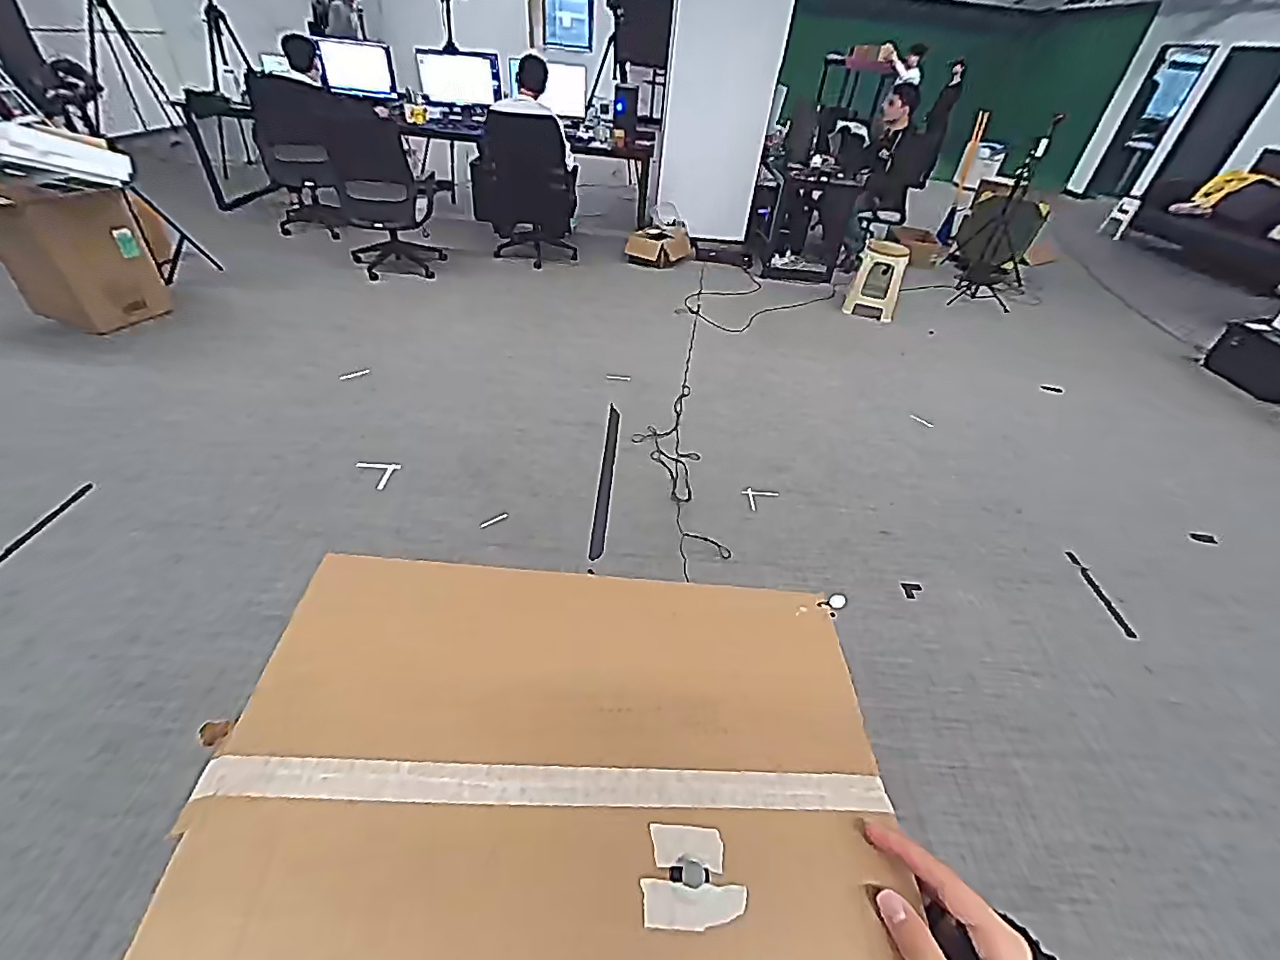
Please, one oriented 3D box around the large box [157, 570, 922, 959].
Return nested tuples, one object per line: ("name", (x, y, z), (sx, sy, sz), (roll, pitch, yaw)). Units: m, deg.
("large box", (-0.064, 0.300, 0.440), (0.408, 0.320, 0.320), (6, 45, -8))
